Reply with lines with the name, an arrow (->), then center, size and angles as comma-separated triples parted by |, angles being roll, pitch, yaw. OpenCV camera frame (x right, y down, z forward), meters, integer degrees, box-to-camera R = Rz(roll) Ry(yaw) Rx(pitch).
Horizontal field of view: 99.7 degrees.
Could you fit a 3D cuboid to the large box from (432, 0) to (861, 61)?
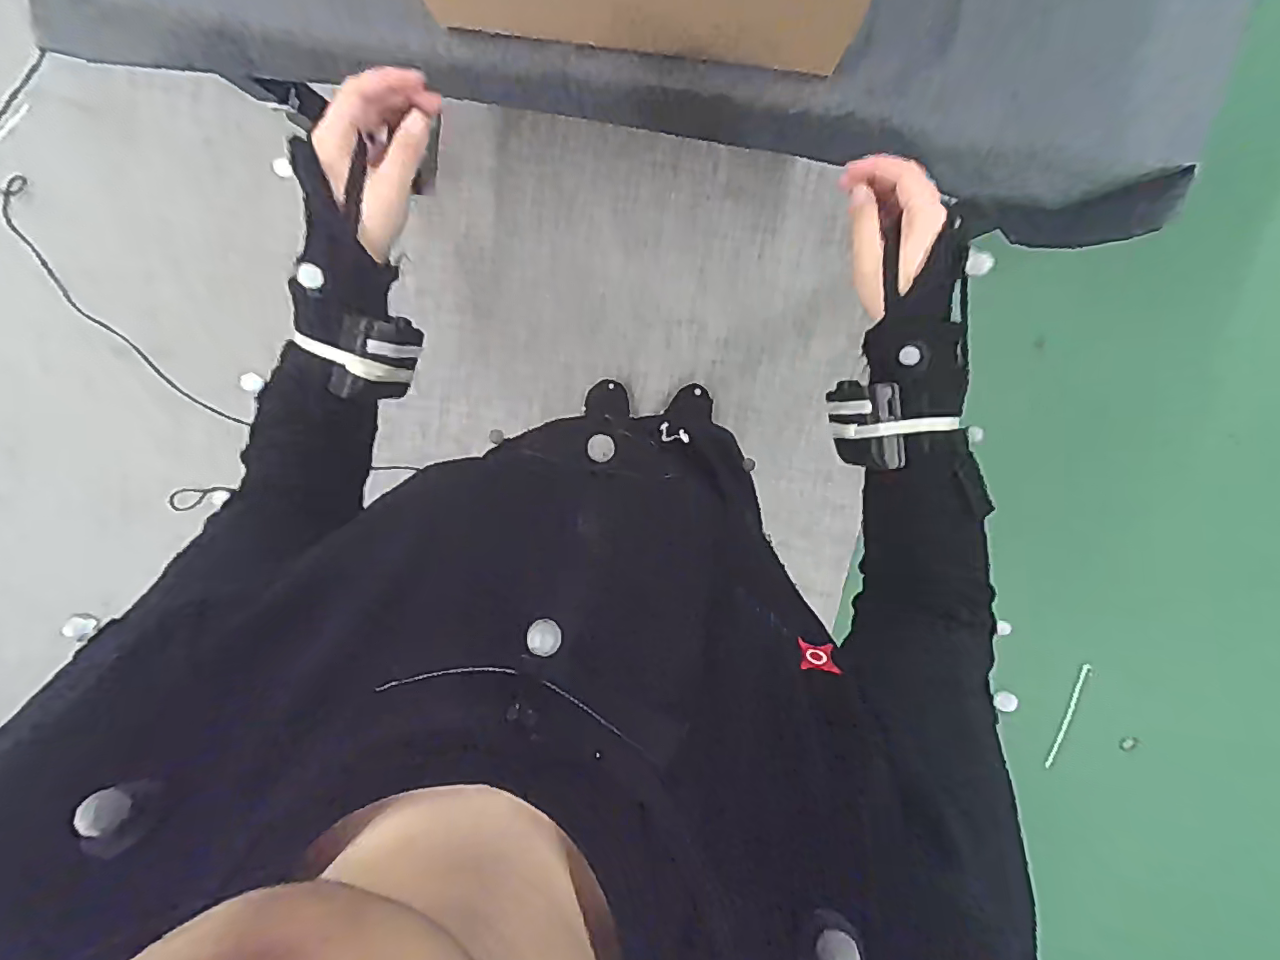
large box -> 0.006, -0.563, 0.375 | 0.408, 0.320, 0.320 | 8, 101, 1
